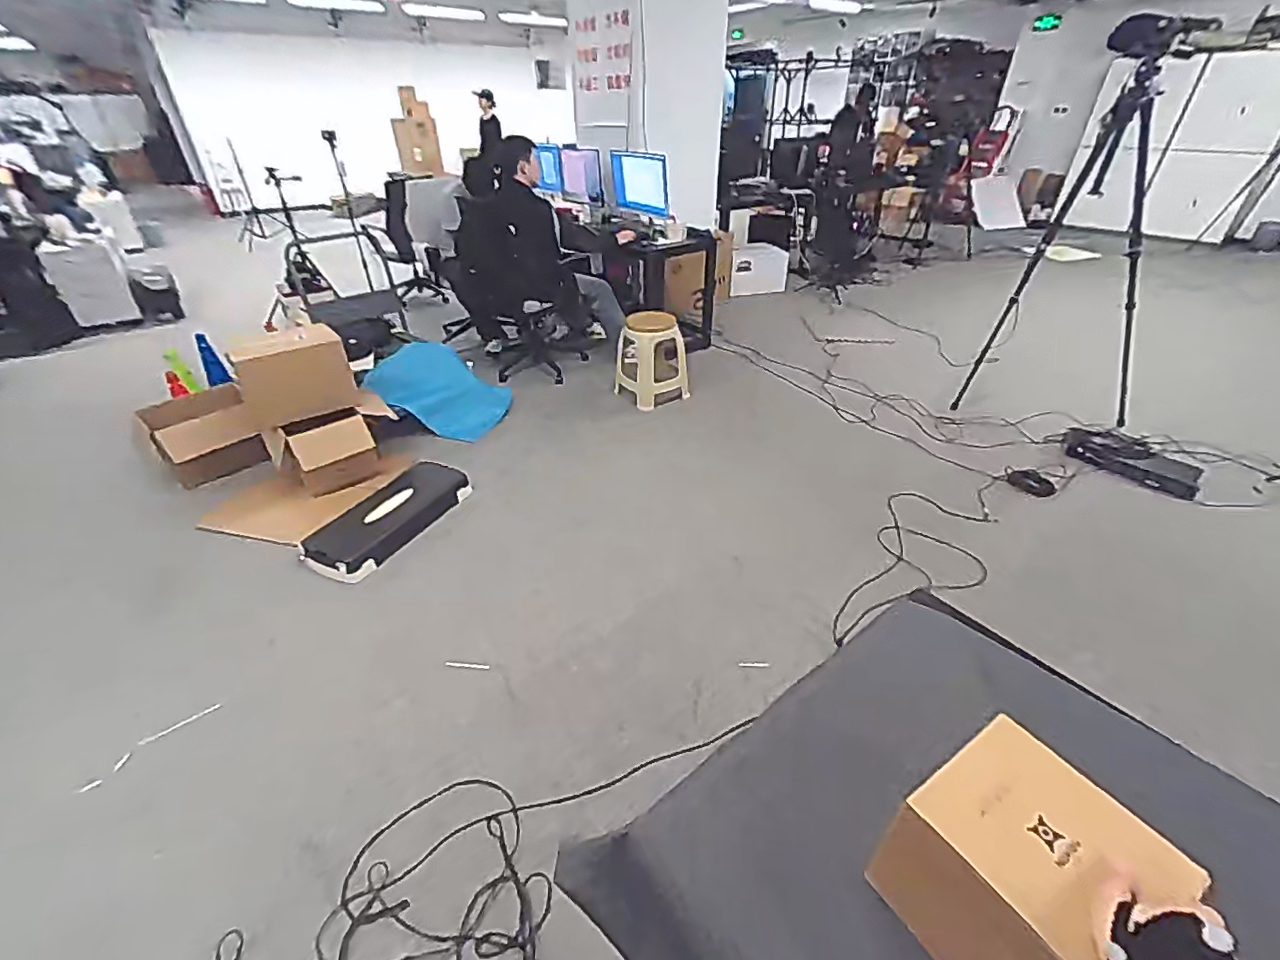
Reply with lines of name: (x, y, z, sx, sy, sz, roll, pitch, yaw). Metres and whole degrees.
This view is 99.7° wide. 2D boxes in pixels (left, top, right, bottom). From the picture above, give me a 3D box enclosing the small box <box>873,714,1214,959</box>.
small box: (0.357, 0.372, 0.510, 0.168, 0.176, 0.179, -19, 37, -27)
